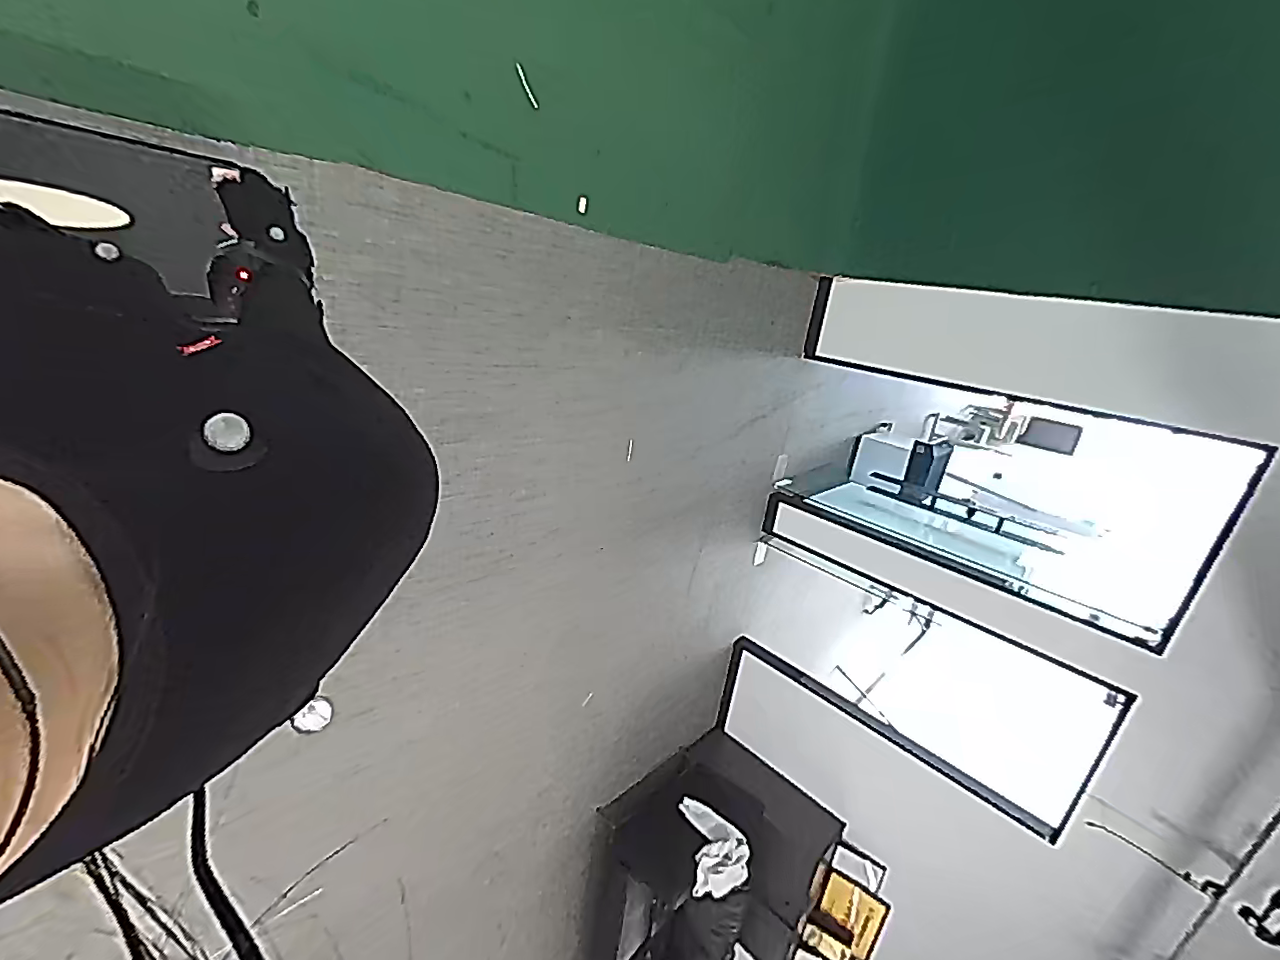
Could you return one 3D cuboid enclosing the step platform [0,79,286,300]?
[{"bbox_3d":[-0.959,-0.458,0.822,0.684,0.204,0.286,-11,118,-44],"label":"step platform"}]
